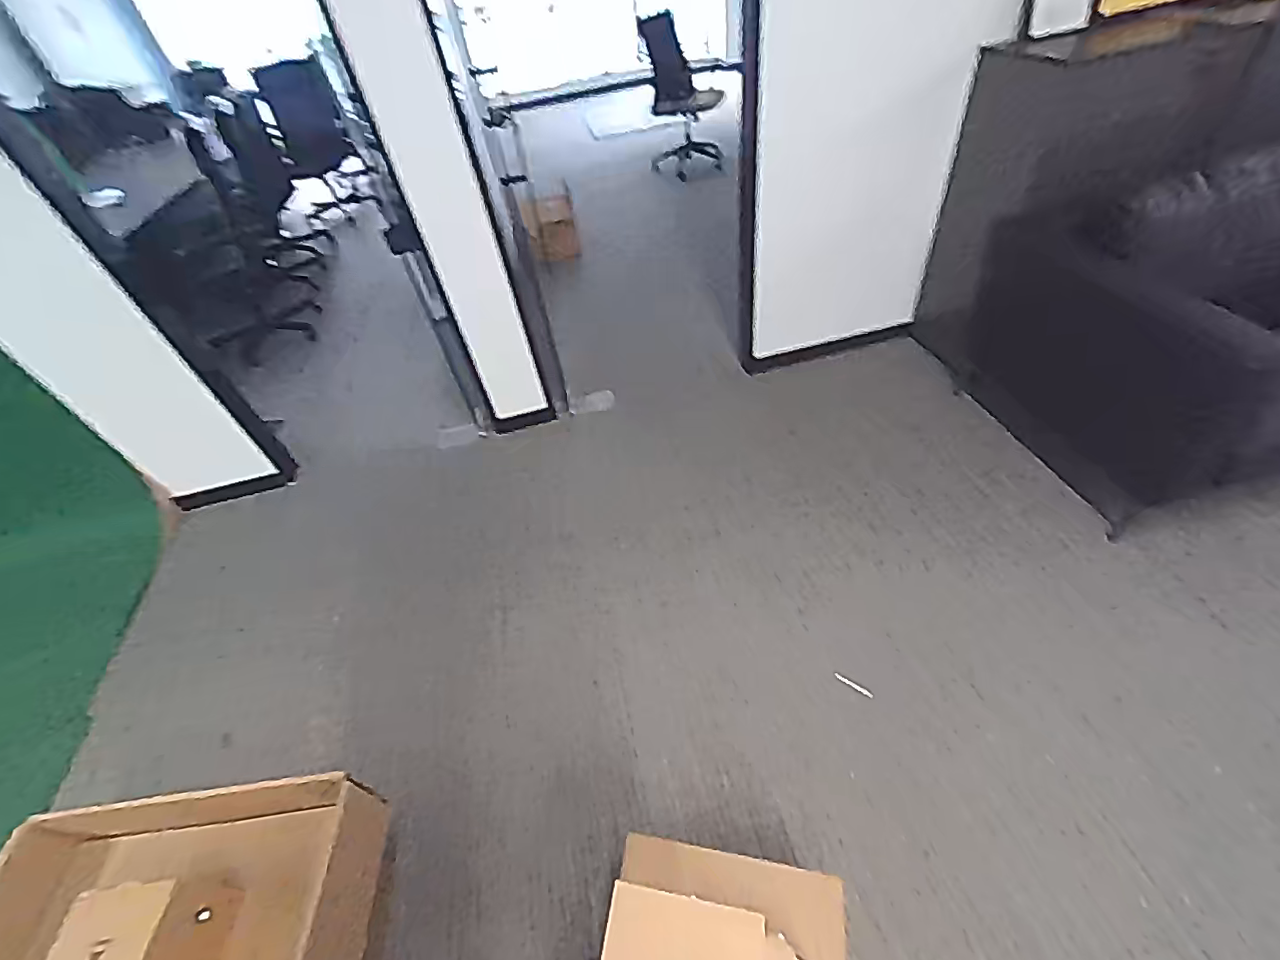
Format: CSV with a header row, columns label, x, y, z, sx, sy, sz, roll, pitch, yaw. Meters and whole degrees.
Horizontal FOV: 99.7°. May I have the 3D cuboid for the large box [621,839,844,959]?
label,x,y,z,sx,sy,sz,roll,pitch,yaw
large box,0.162,0.922,1.020,0.408,0.320,0.320,3,46,14

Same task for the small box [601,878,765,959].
label,x,y,z,sx,sy,sz,roll,pitch,yaw
small box,0.037,0.563,0.576,0.168,0.176,0.179,6,44,9
